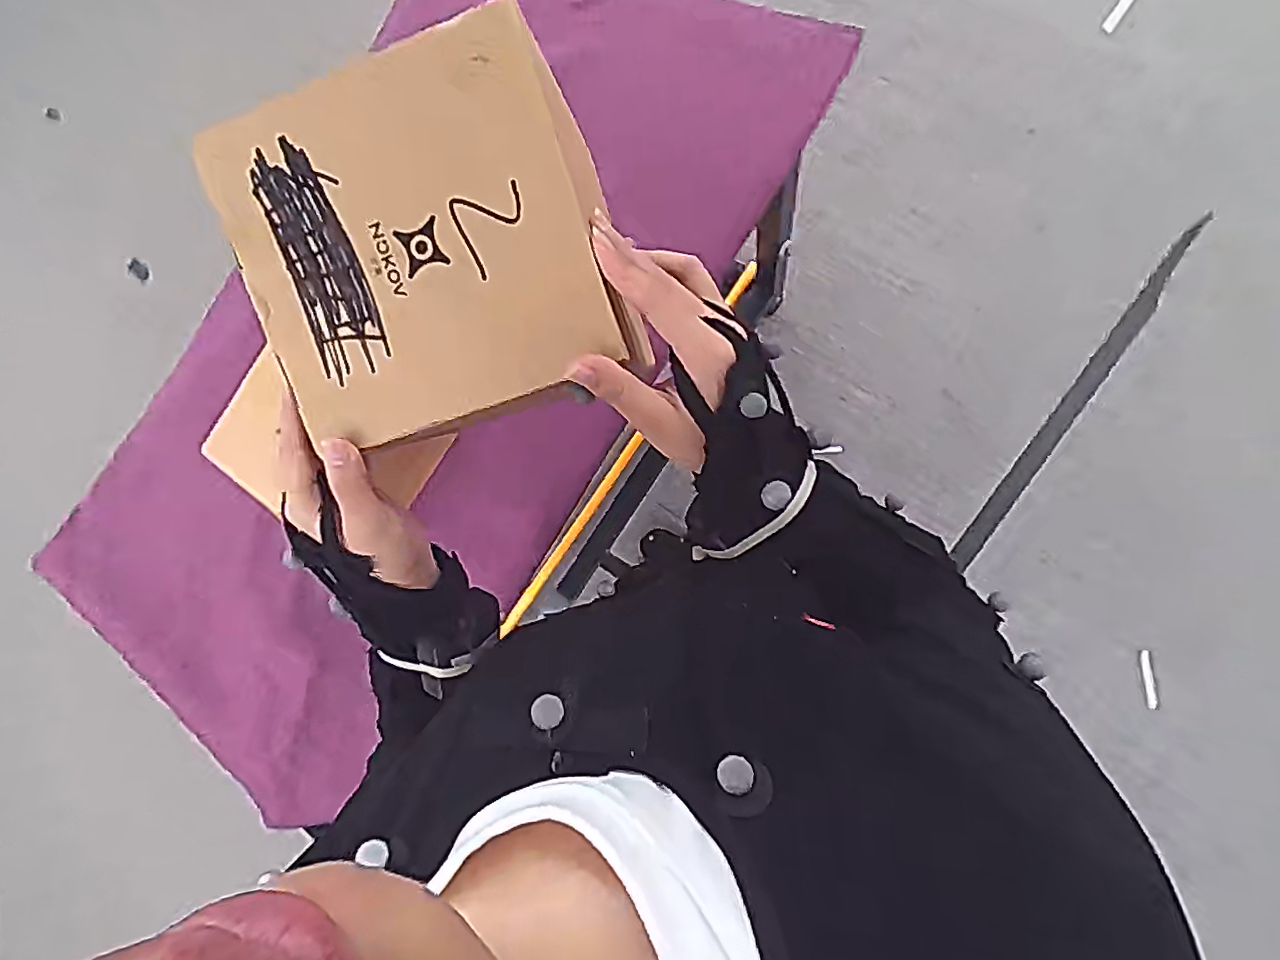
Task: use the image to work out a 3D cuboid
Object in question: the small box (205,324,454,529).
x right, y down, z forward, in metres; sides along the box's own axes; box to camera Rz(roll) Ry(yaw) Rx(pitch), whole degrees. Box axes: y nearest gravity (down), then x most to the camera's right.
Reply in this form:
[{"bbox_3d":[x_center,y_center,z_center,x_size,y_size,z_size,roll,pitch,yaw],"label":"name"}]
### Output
[{"bbox_3d":[-0.367,-0.054,0.670,0.168,0.176,0.179,34,92,12],"label":"small box"}]
